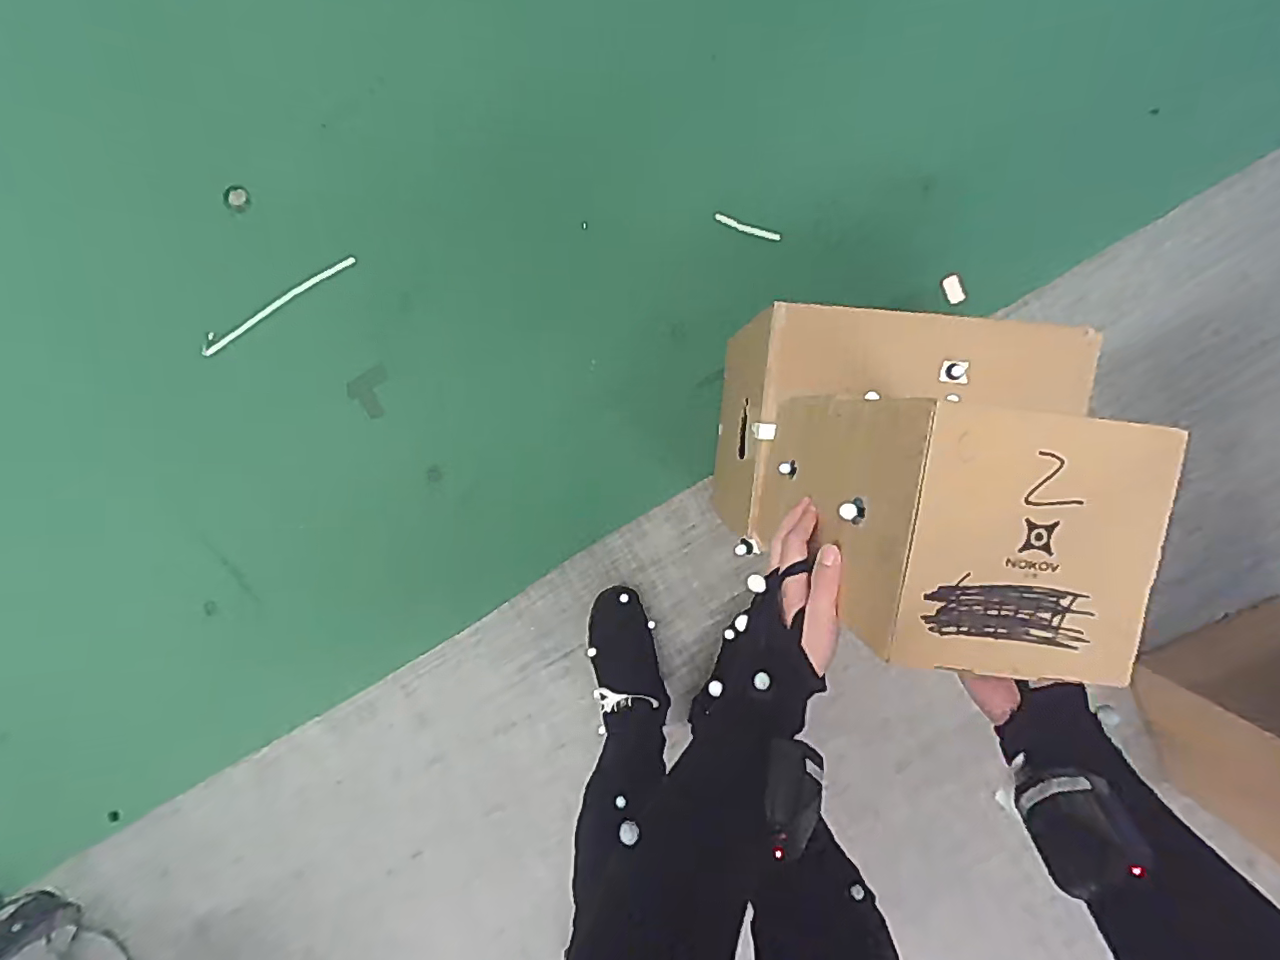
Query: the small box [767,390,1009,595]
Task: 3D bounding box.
[{"bbox_3d":[0.246,0.004,0.586,0.168,0.176,0.179,8,97,-3],"label":"small box"}]
